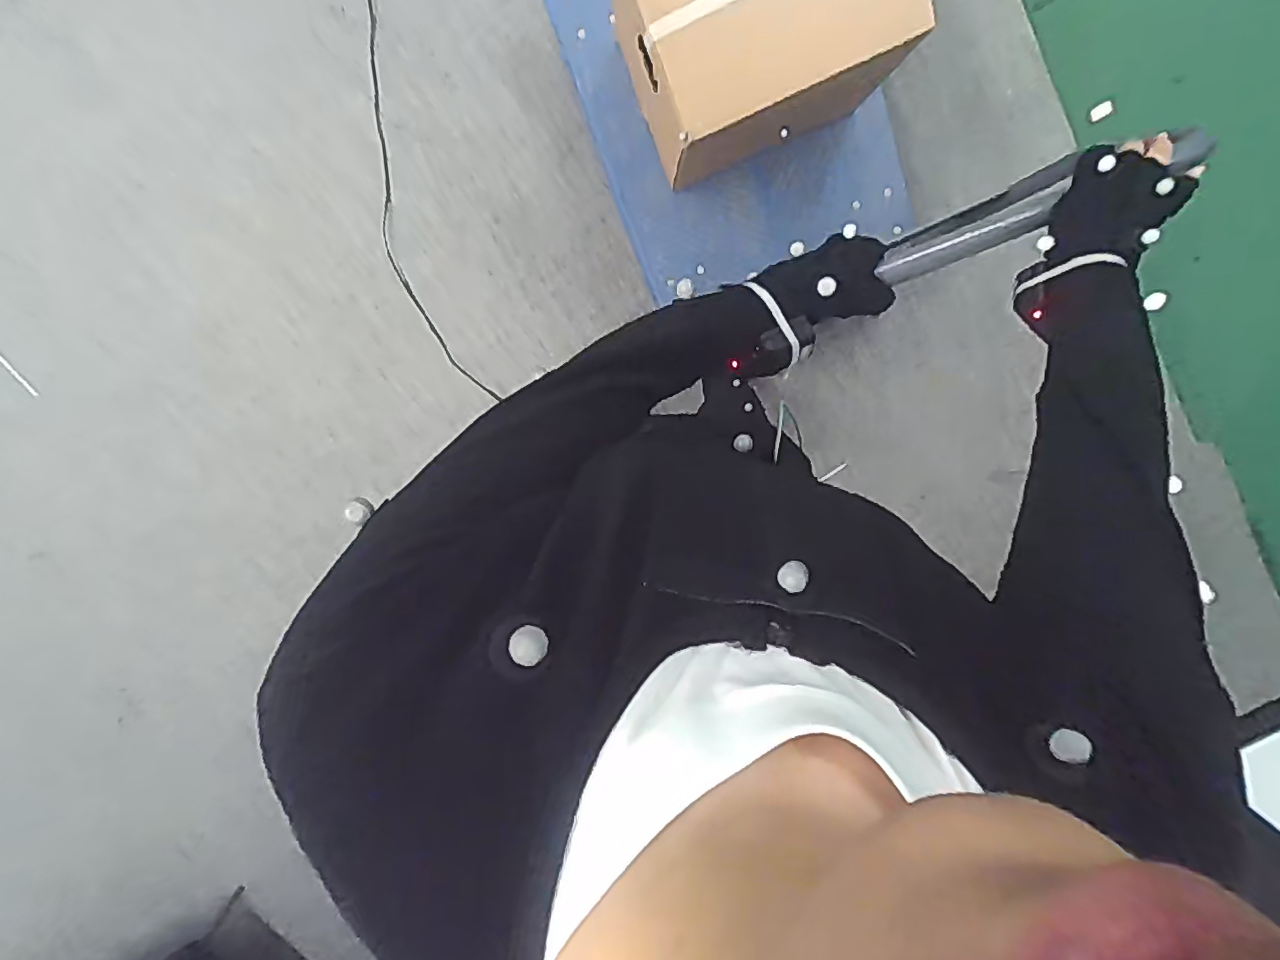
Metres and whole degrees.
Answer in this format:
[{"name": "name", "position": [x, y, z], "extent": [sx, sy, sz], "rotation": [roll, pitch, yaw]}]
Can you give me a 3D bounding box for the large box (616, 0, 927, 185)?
[{"name": "large box", "position": [0.198, -0.789, 0.945], "extent": [0.408, 0.320, 0.320], "rotation": [-23, 104, 6]}]
